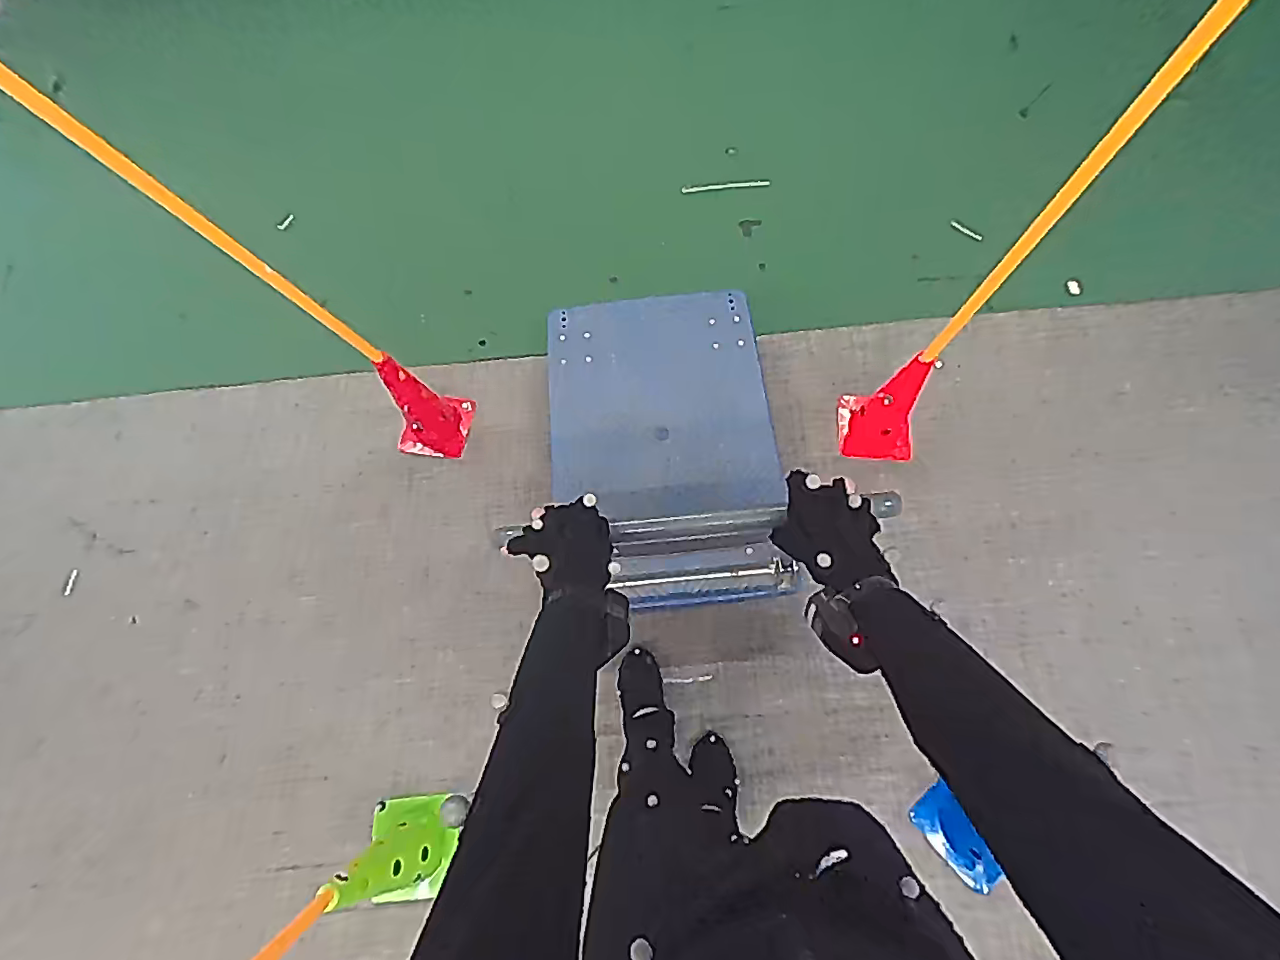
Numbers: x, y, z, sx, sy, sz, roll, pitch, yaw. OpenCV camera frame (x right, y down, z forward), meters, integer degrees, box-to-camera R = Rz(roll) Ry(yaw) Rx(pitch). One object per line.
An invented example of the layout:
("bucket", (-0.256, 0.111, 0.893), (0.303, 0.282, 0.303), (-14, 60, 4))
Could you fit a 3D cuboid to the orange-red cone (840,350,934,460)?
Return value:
("orange-red cone", (0.668, -0.216, 1.400), (0.198, 0.360, 0.199), (5, 69, 6))
